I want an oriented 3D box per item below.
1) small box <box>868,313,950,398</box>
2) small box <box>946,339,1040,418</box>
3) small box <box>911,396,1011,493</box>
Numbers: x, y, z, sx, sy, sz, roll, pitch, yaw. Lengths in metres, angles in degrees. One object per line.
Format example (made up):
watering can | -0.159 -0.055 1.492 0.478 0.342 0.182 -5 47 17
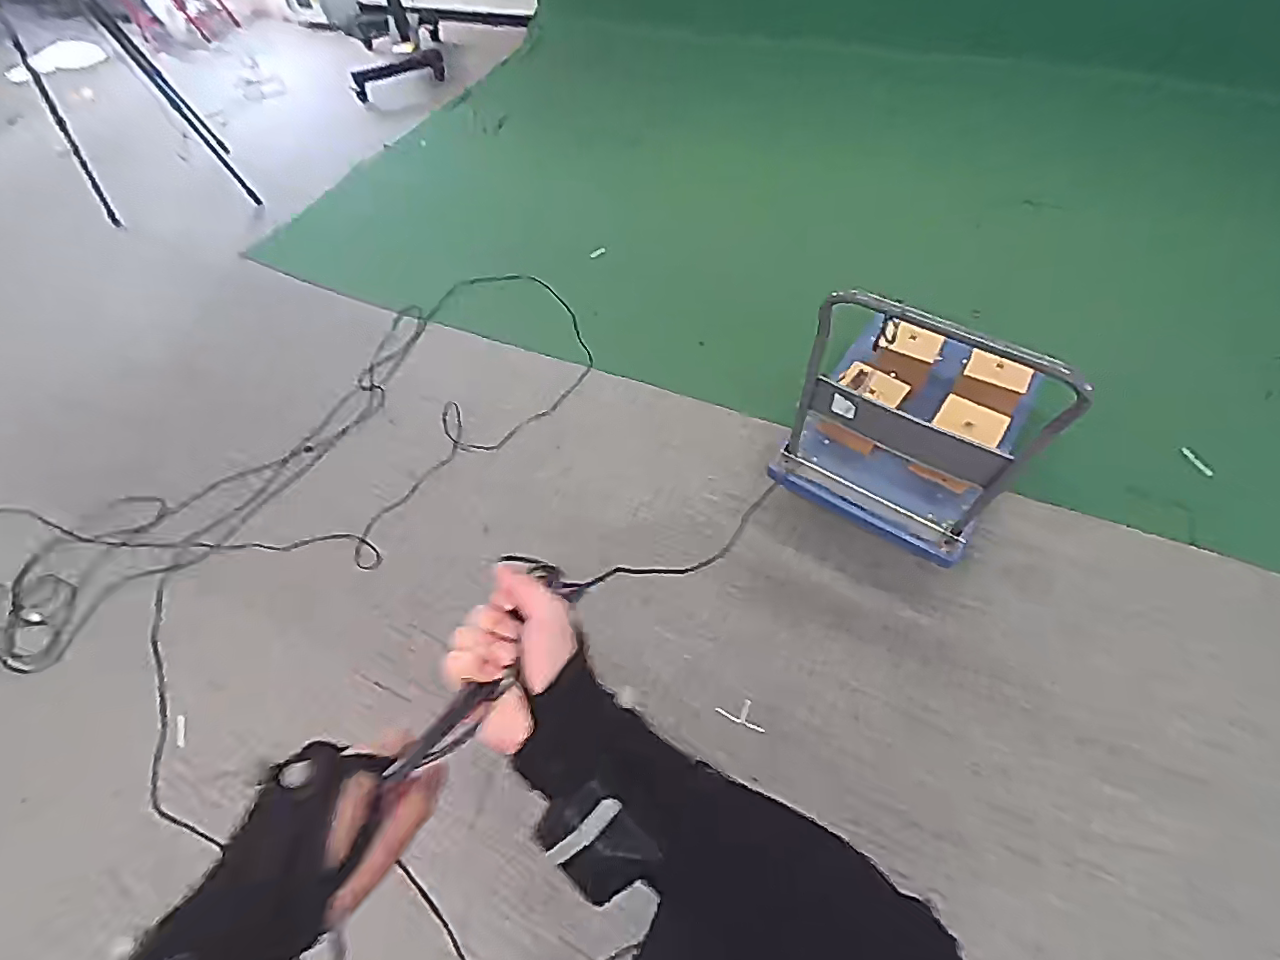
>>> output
small box | 0.850 -0.393 1.726 0.168 0.176 0.179 27 63 20
small box | 1.061 -0.289 1.638 0.168 0.176 0.179 26 64 21
small box | 0.901 -0.099 1.532 0.168 0.176 0.179 31 65 23
